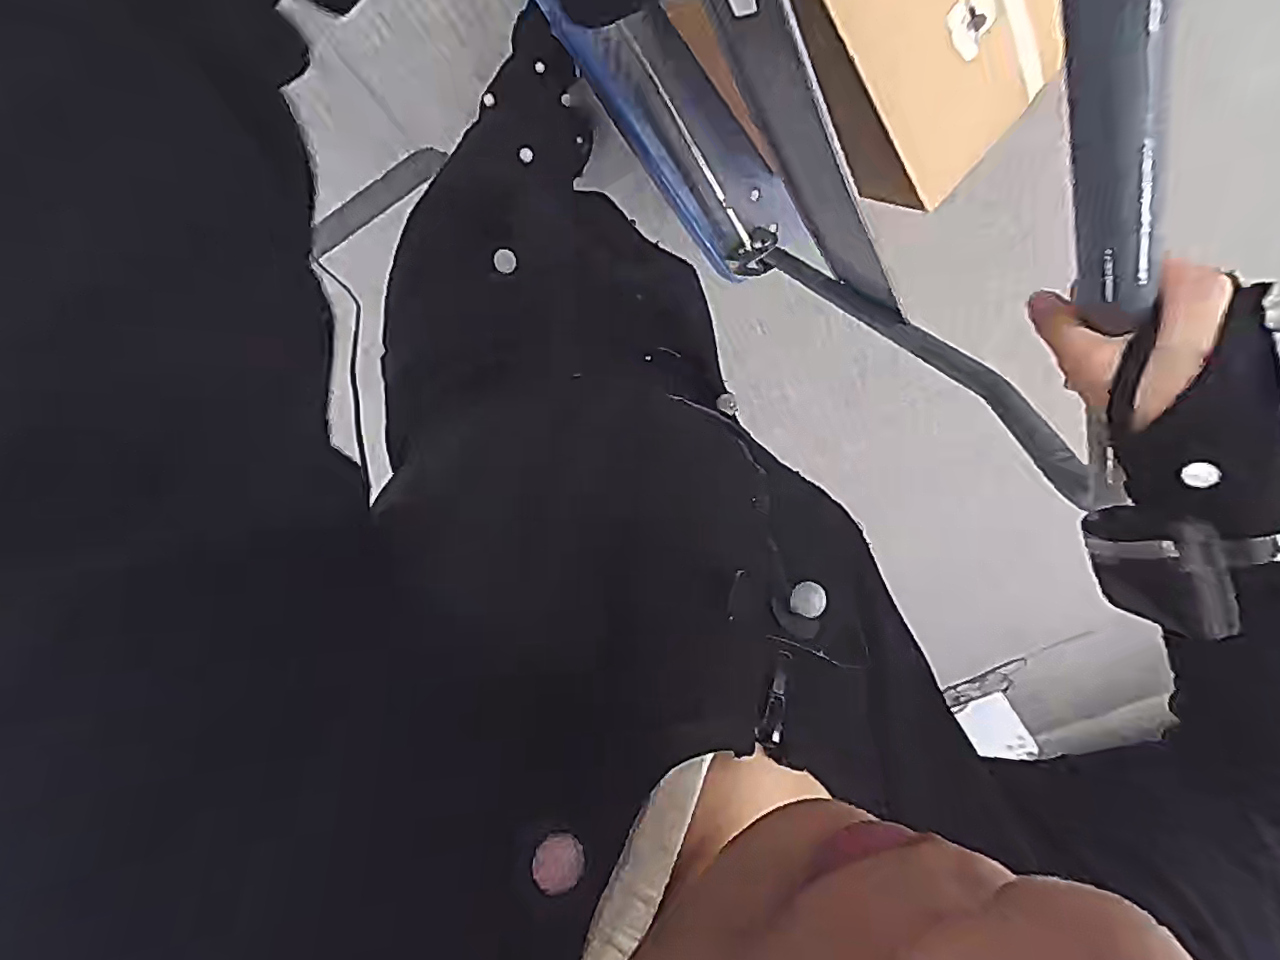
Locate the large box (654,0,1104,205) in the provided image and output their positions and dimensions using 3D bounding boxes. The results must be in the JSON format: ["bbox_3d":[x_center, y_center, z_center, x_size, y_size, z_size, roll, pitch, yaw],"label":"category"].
[{"bbox_3d":[0.241,-0.592,0.599,0.408,0.320,0.320,30,106,-40],"label":"large box"}]
